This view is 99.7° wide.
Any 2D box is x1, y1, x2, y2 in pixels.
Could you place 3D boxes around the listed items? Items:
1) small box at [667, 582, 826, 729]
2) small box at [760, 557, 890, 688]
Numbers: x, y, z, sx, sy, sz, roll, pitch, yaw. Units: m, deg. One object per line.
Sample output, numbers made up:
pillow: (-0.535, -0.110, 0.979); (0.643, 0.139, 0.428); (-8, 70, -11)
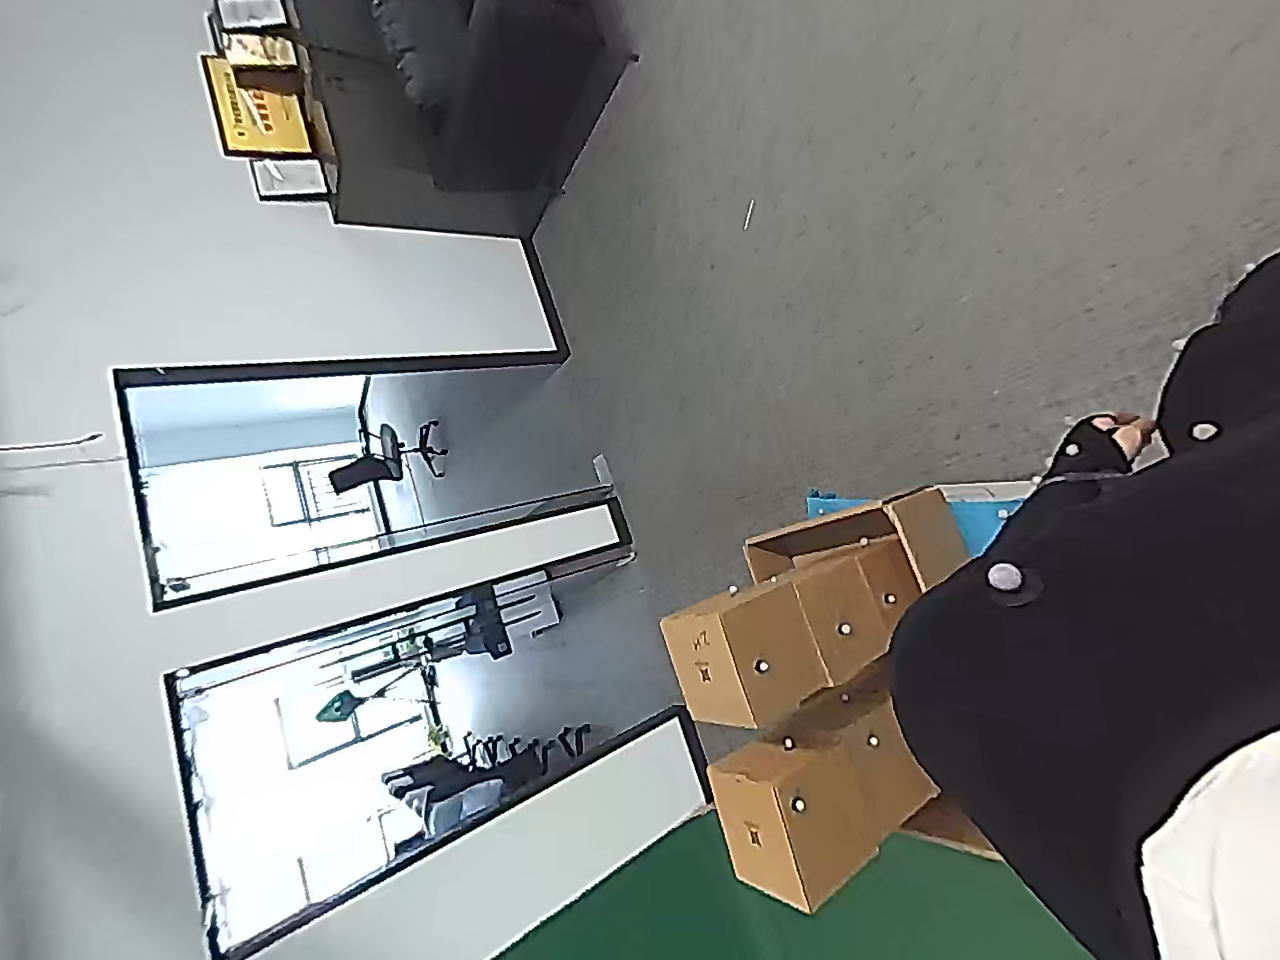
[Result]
small box: (0.178, 0.285, 0.900); (0.168, 0.176, 0.179); (-29, 77, 55)
small box: (0.318, 0.258, 0.985); (0.168, 0.176, 0.179); (-32, 76, 54)
